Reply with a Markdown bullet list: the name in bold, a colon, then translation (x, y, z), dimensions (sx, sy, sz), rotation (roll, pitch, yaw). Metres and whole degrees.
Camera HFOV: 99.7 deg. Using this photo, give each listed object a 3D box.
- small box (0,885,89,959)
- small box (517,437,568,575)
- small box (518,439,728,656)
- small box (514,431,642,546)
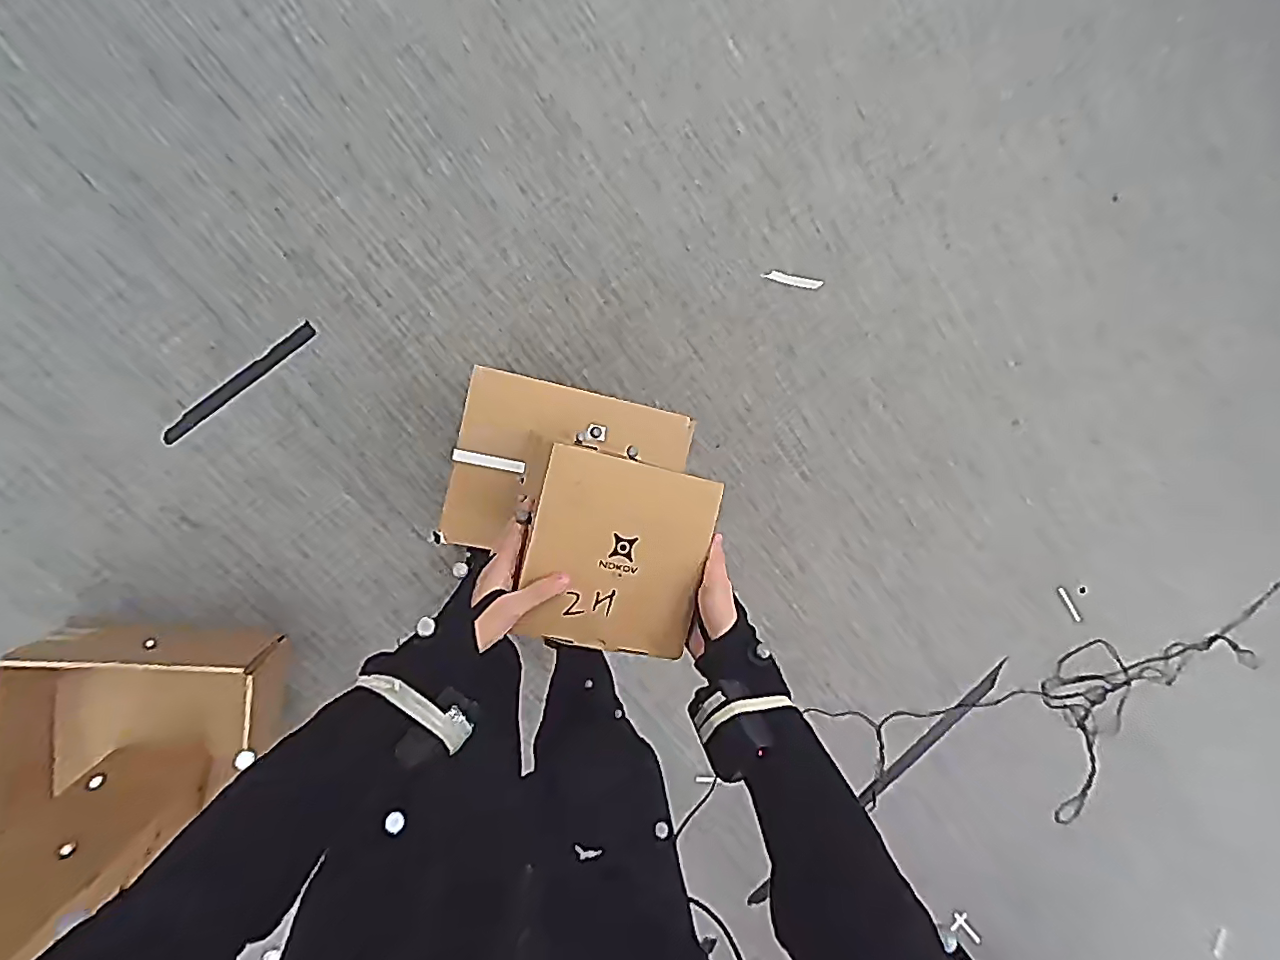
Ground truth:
- **small box**: translation (-0.895, 0.669, 0.705), dimensions (0.179, 0.176, 0.168), rotation (10, 93, -14)
- **small box**: translation (-0.067, 0.044, 0.732), dimensions (0.168, 0.176, 0.179), rotation (15, 93, -14)
- **small box**: translation (-0.031, 0.059, 0.572), dimensions (0.168, 0.176, 0.179), rotation (14, 92, -13)
- **small box**: translation (-0.107, 0.023, 0.888), dimensions (0.168, 0.176, 0.179), rotation (12, 92, -15)
